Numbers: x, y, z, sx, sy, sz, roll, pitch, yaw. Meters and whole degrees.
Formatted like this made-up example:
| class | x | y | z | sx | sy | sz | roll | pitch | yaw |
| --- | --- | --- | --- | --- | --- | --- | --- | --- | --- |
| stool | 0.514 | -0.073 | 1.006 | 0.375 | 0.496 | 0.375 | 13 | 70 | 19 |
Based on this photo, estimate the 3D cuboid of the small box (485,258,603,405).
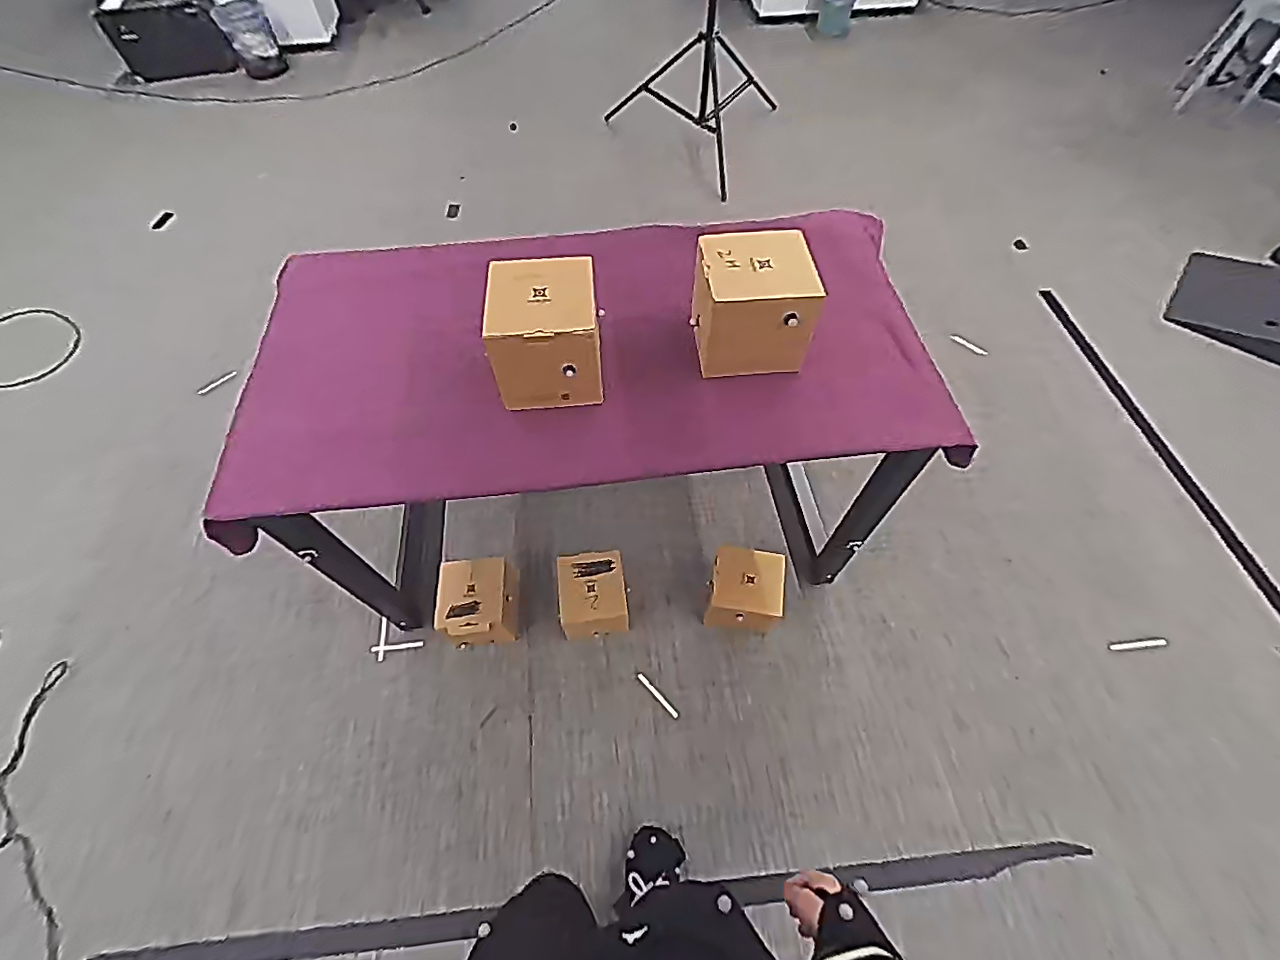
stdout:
| class | x | y | z | sx | sy | sz | roll | pitch | yaw |
| --- | --- | --- | --- | --- | --- | --- | --- | --- | --- |
| small box | -0.150 | -0.238 | 0.892 | 0.168 | 0.176 | 0.179 | -4 | 57 | -3 |

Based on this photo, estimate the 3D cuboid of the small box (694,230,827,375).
| class | x | y | z | sx | sy | sz | roll | pitch | yaw |
| --- | --- | --- | --- | --- | --- | --- | --- | --- | --- |
| small box | 0.193 | -0.297 | 0.922 | 0.179 | 0.176 | 0.168 | -5 | 58 | -1 |

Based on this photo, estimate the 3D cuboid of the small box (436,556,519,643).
| class | x | y | z | sx | sy | sz | roll | pitch | yaw |
| --- | --- | --- | --- | --- | --- | --- | --- | --- | --- |
| small box | -0.416 | 0.318 | 1.411 | 0.168 | 0.176 | 0.179 | -5 | 58 | -2 |

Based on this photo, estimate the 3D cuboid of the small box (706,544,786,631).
| class | x | y | z | sx | sy | sz | roll | pitch | yaw |
| --- | --- | --- | --- | --- | --- | --- | --- | --- | --- |
| small box | 0.275 | 0.288 | 1.424 | 0.179 | 0.176 | 0.168 | 8 | 60 | 7 |
